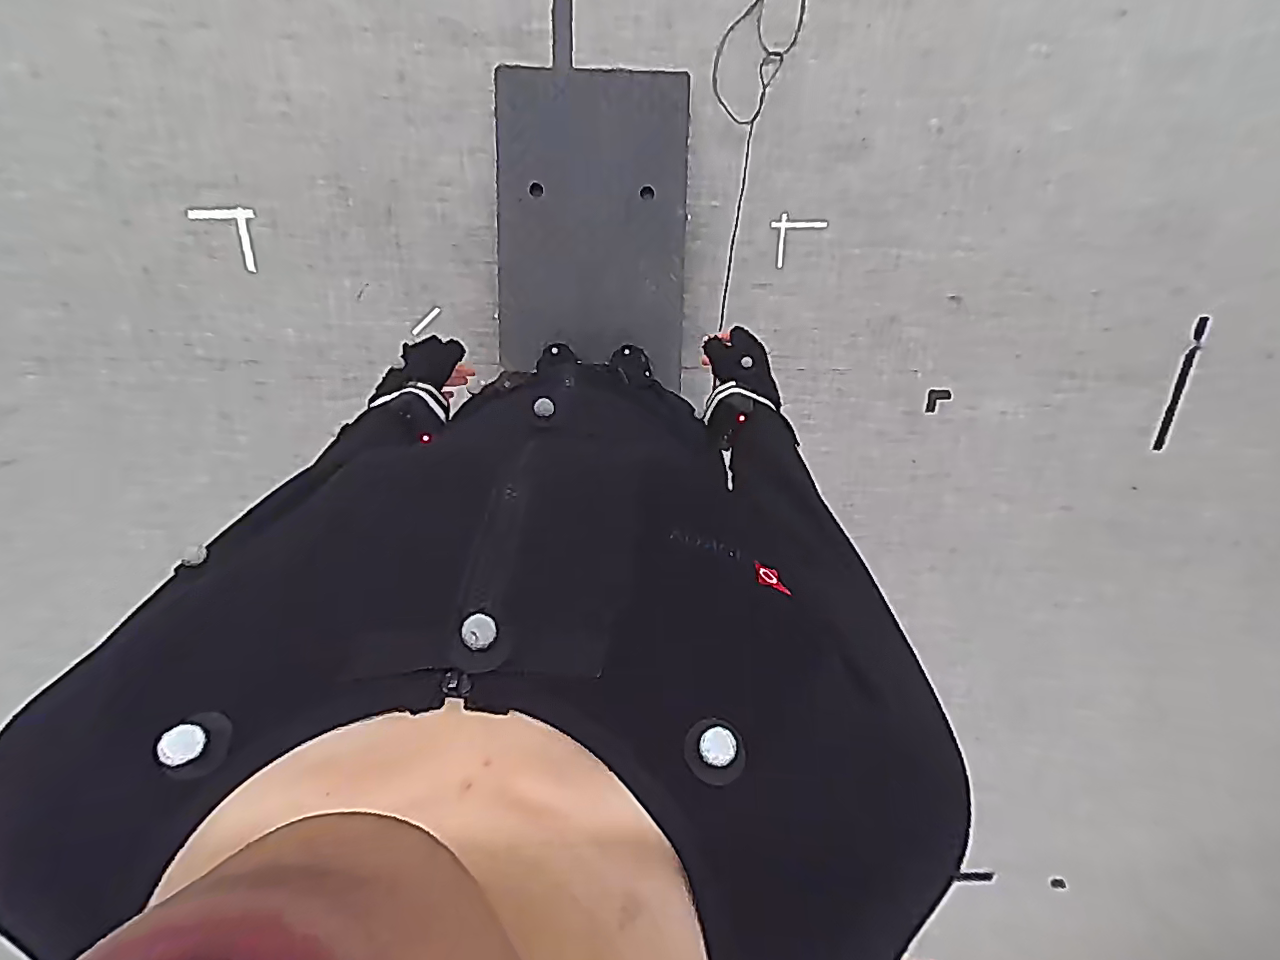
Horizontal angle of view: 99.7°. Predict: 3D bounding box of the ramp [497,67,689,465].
[{"bbox_3d":[-0.126,-0.538,1.422,0.509,0.206,0.991,0,107,0],"label":"ramp"}]
